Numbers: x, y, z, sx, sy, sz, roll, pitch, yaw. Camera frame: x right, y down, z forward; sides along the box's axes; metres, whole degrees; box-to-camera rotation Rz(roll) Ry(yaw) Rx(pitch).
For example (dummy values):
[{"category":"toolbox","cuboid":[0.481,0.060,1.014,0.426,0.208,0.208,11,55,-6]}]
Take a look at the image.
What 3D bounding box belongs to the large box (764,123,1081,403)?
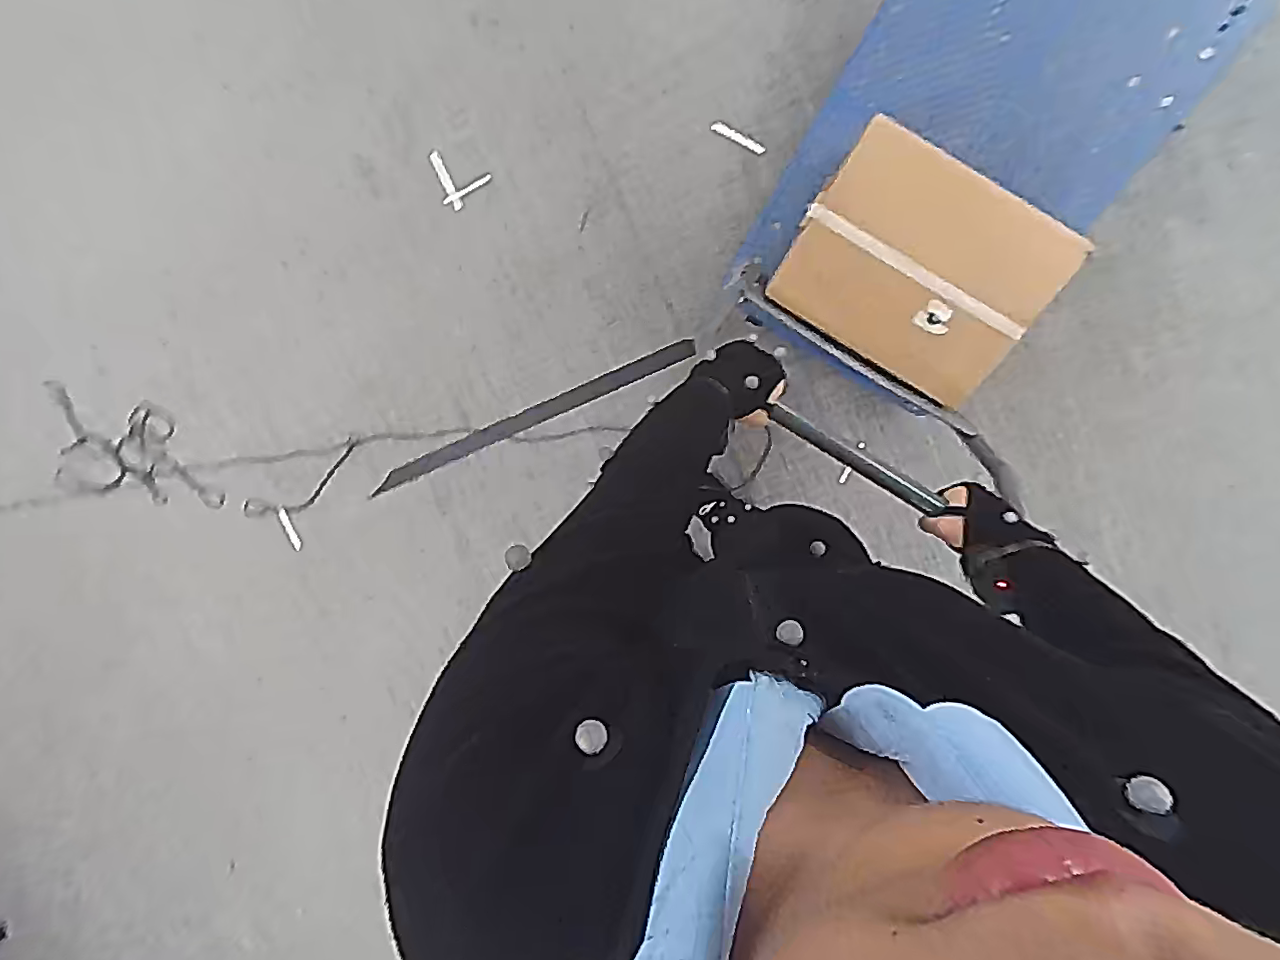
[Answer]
[{"category":"large box","cuboid":[0.495,-0.408,1.060,0.408,0.320,0.320,31,115,-1]}]
